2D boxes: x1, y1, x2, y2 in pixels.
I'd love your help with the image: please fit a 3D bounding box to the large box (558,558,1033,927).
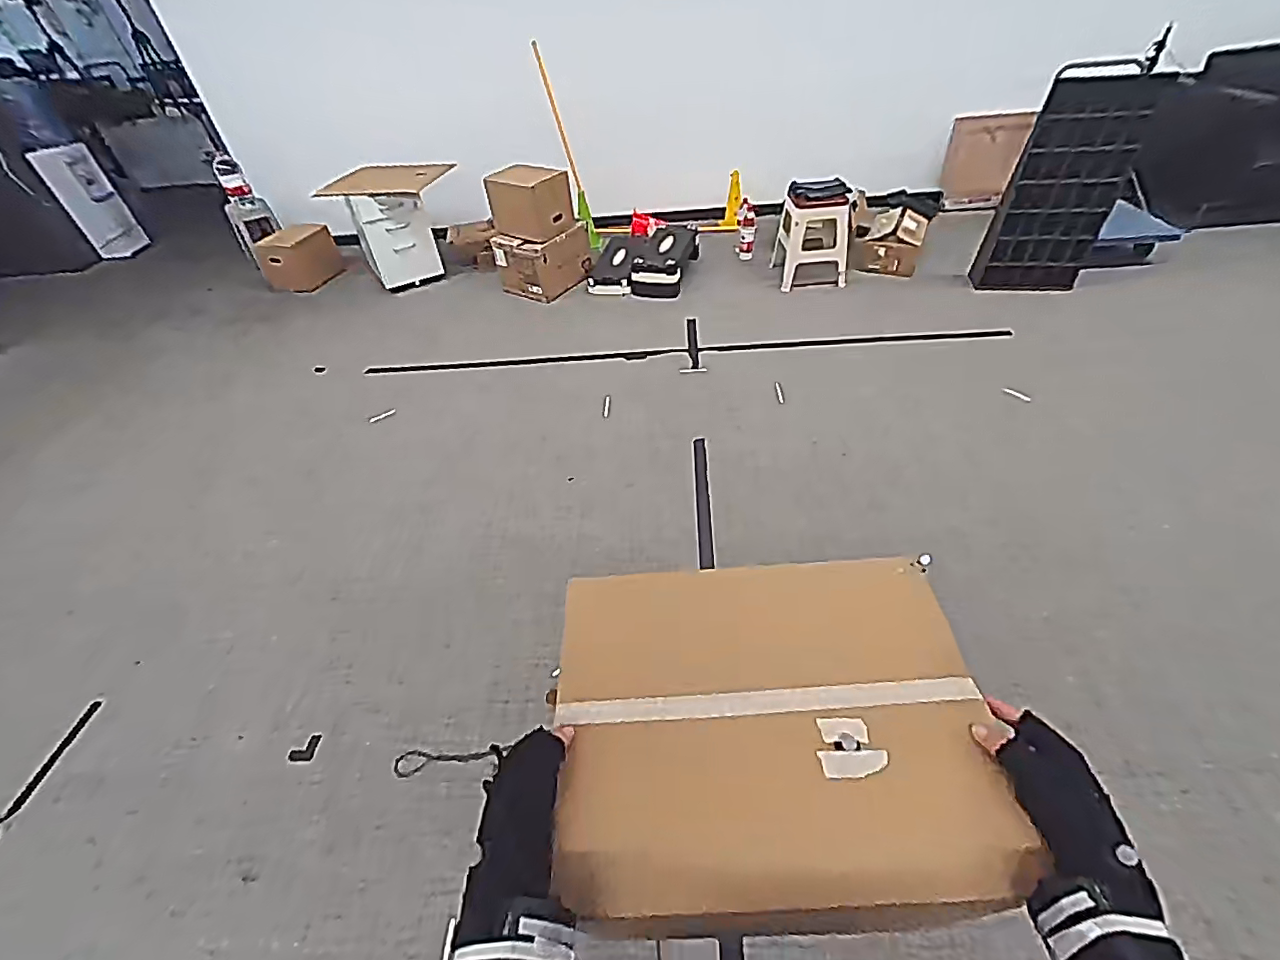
[{"bbox_3d":[0.130,0.321,0.655,0.408,0.320,0.320,-4,48,2],"label":"large box"}]
